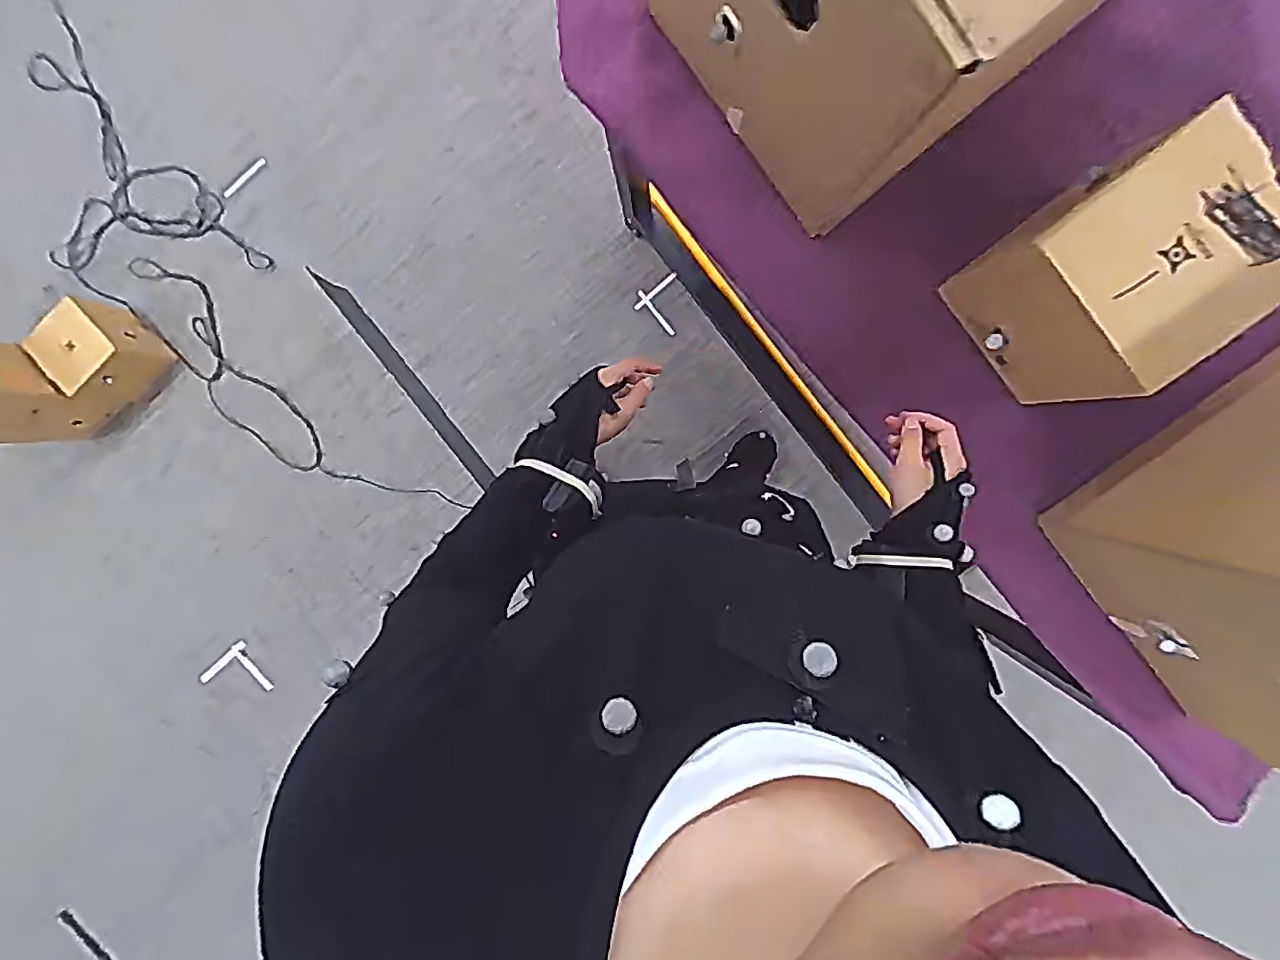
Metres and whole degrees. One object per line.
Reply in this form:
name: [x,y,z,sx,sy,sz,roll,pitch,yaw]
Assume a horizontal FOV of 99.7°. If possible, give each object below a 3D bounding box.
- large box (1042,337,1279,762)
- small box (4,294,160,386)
large box: [0.693,0.051,0.462,0.408,0.320,0.320,-39,93,5]
small box: [-1.302,-0.324,1.270,0.168,0.176,0.179,-15,105,-9]
